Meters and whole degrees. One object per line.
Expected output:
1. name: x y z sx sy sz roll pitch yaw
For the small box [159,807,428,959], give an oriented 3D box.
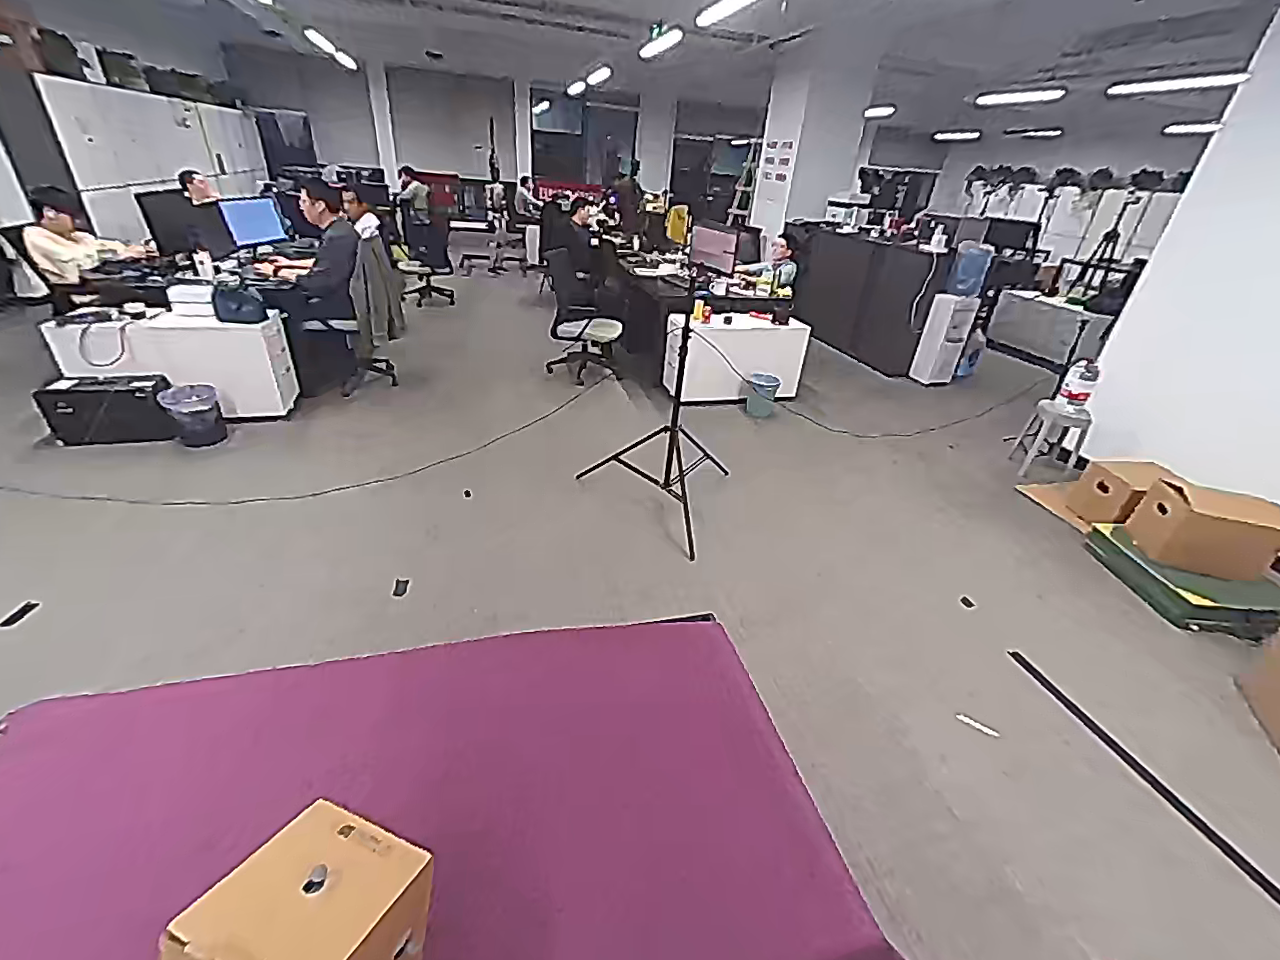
1. small box: -0.344 0.487 0.556 0.168 0.179 0.176 14 12 16
